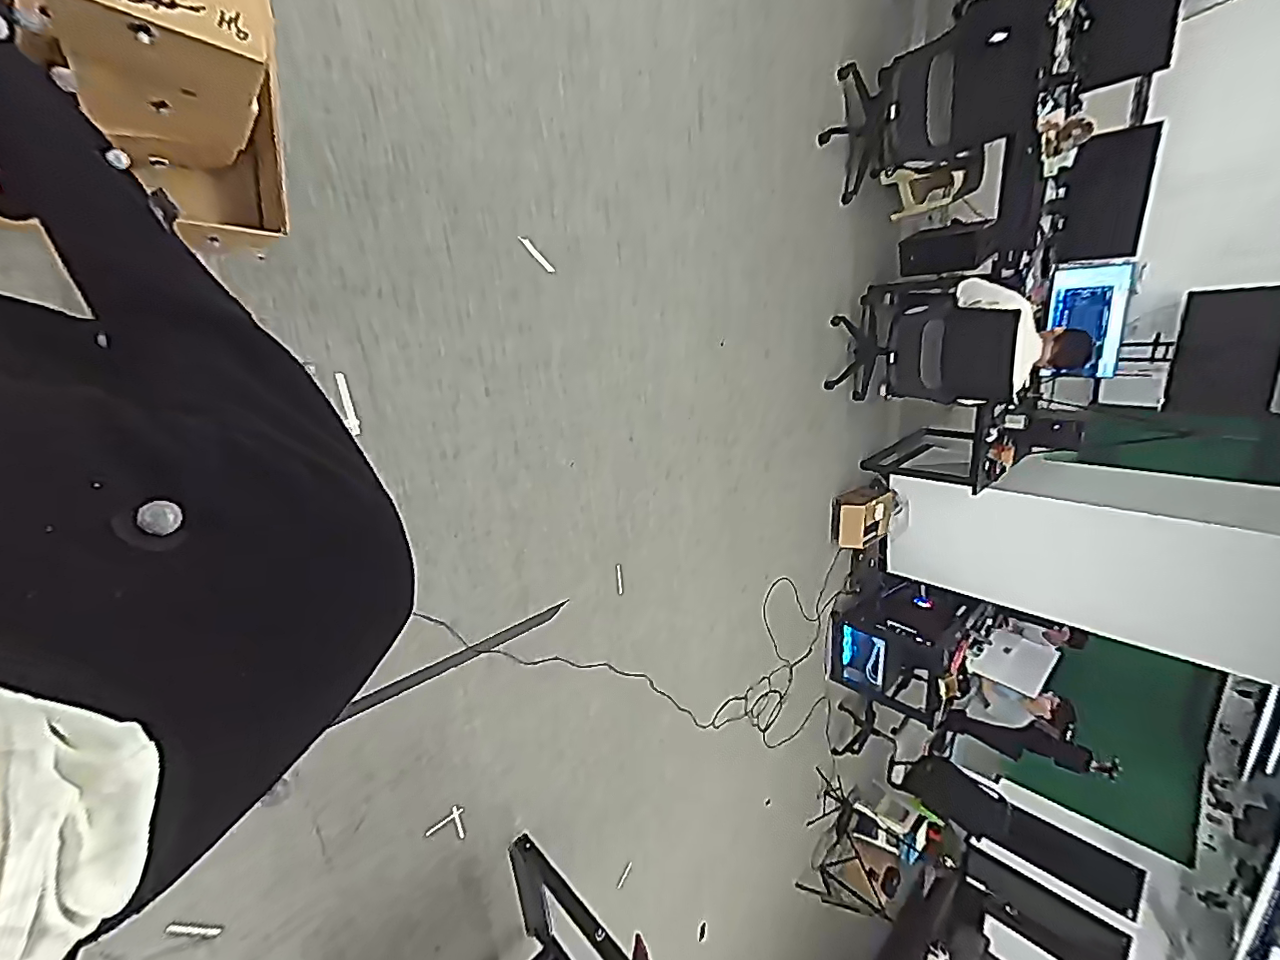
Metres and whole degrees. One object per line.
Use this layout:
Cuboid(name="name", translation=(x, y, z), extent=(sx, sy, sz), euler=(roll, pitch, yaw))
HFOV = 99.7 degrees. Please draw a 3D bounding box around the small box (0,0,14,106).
Cuboid(name="small box", translation=(-0.771, -0.514, 0.546), extent=(0.179, 0.176, 0.168), euler=(0, 99, -45))
